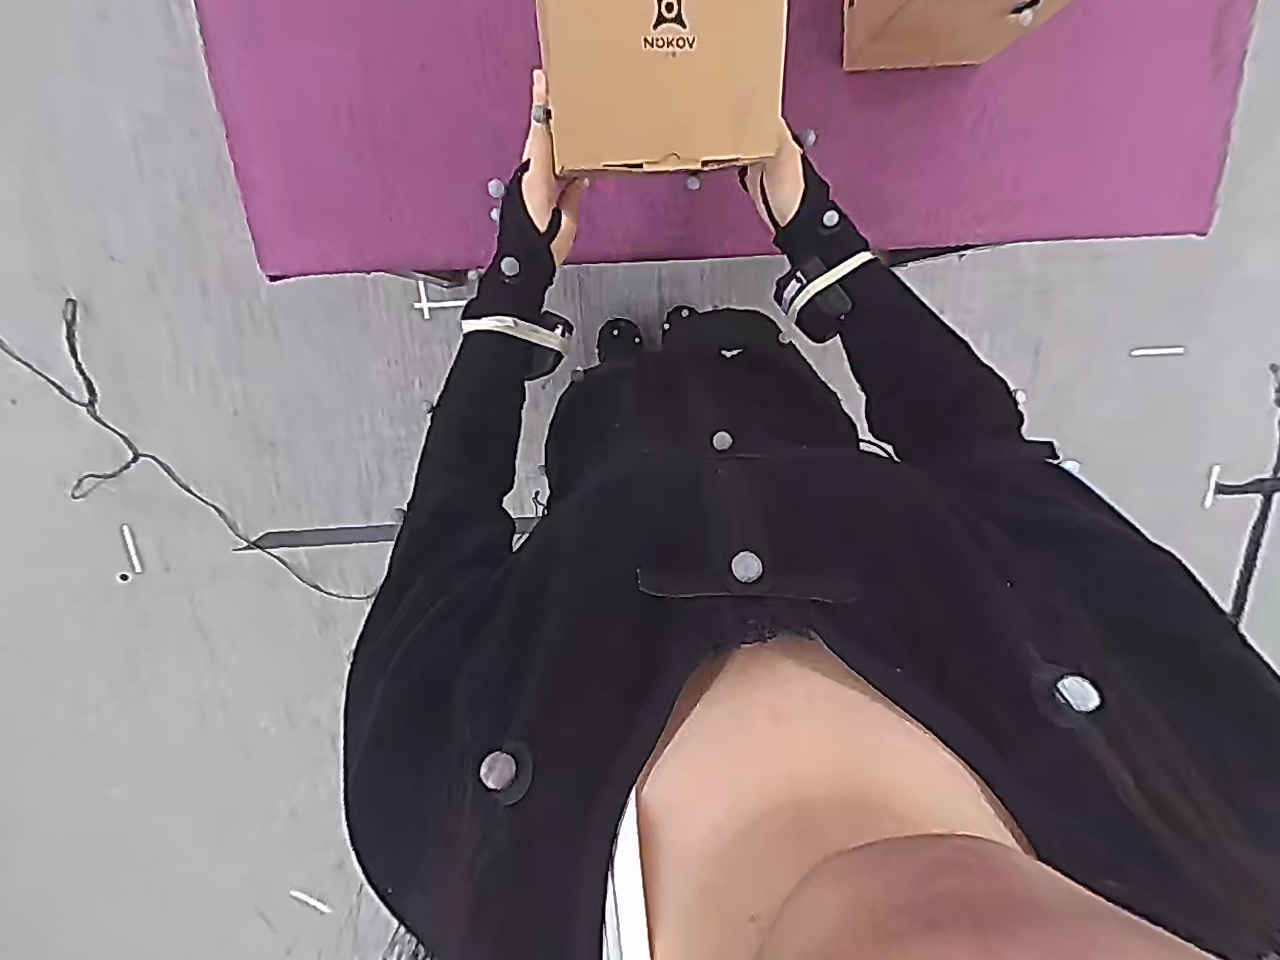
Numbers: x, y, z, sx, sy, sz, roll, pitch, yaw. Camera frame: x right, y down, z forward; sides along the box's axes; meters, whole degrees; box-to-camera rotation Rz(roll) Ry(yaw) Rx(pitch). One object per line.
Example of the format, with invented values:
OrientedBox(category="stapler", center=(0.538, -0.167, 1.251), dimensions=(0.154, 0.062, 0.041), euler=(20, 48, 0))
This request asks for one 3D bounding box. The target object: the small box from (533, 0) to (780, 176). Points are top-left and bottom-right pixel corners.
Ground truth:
OrientedBox(category="small box", center=(0.003, -0.348, 0.433), dimensions=(0.168, 0.176, 0.179), euler=(-8, 116, -7))

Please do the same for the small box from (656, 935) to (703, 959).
OrientedBox(category="small box", center=(0.149, 1.788, 1.949), dimensions=(0.168, 0.176, 0.179), euler=(-6, 106, -2))

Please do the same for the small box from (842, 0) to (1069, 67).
OrientedBox(category="small box", center=(0.324, -0.546, 0.537), dimensions=(0.179, 0.176, 0.168), euler=(-5, 105, -2))
